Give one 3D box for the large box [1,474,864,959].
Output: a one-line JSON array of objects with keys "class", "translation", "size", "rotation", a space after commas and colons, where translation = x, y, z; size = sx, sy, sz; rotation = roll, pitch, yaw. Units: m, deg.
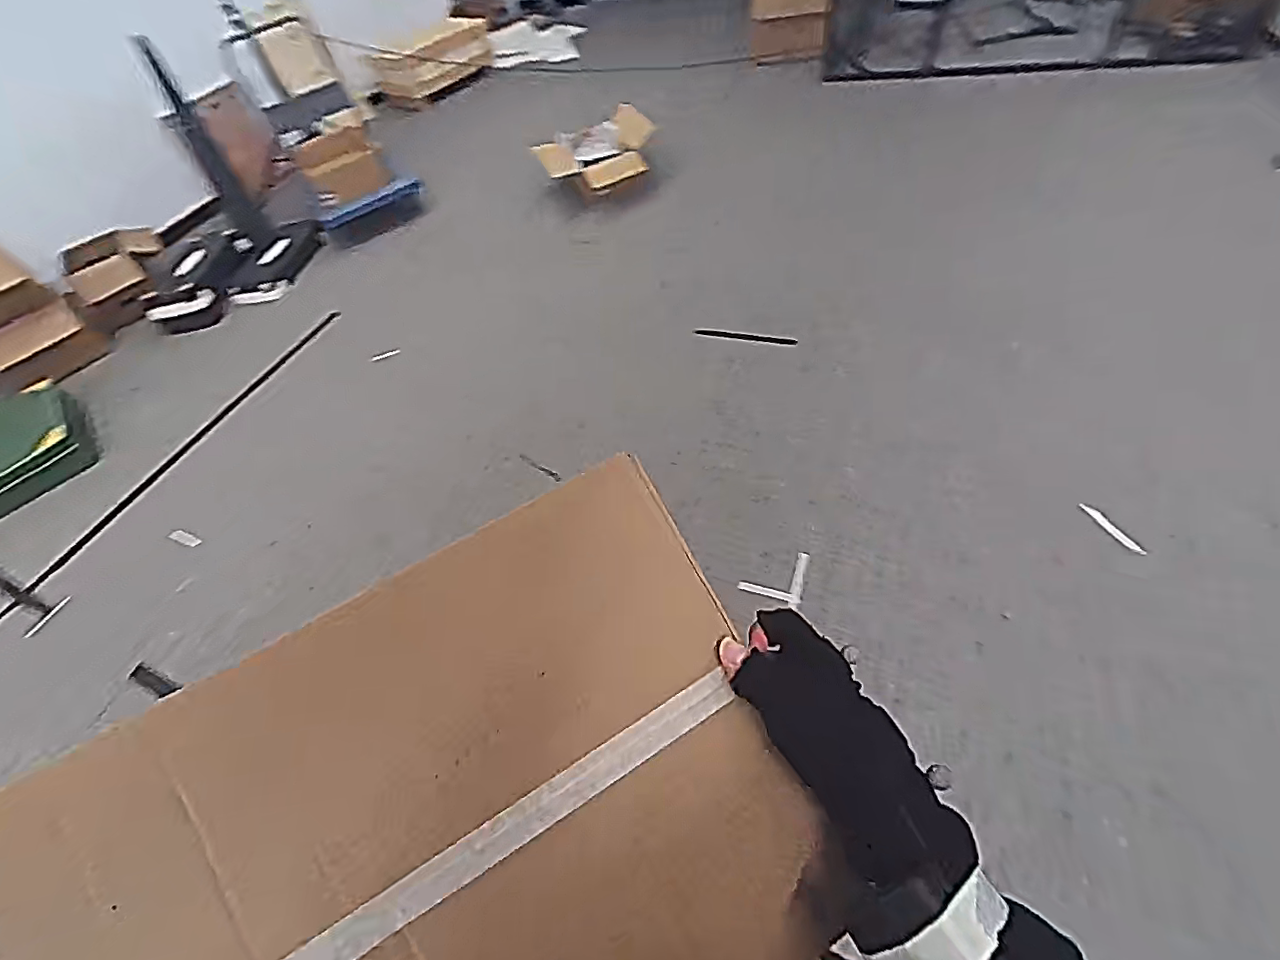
[{"class": "large box", "translation": [-0.117, 0.241, 0.459], "size": [0.408, 0.320, 0.320], "rotation": [-29, 84, -11]}]
